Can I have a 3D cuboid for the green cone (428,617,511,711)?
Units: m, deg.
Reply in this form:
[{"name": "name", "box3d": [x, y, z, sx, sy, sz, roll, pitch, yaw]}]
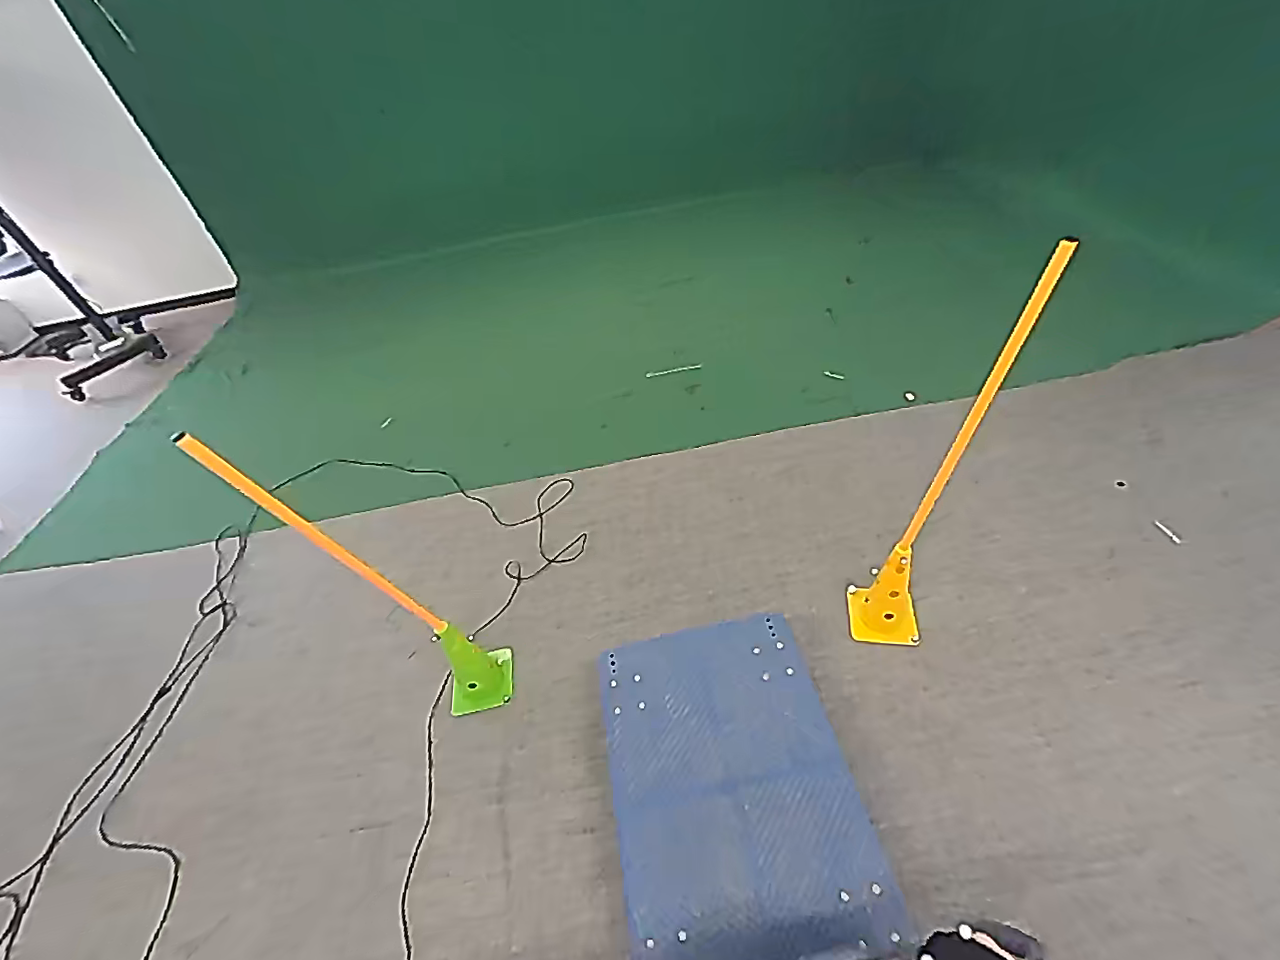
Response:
[{"name": "green cone", "box3d": [-0.554, 0.531, 1.674, 0.202, 0.368, 0.200, -14, 44, -1]}]
